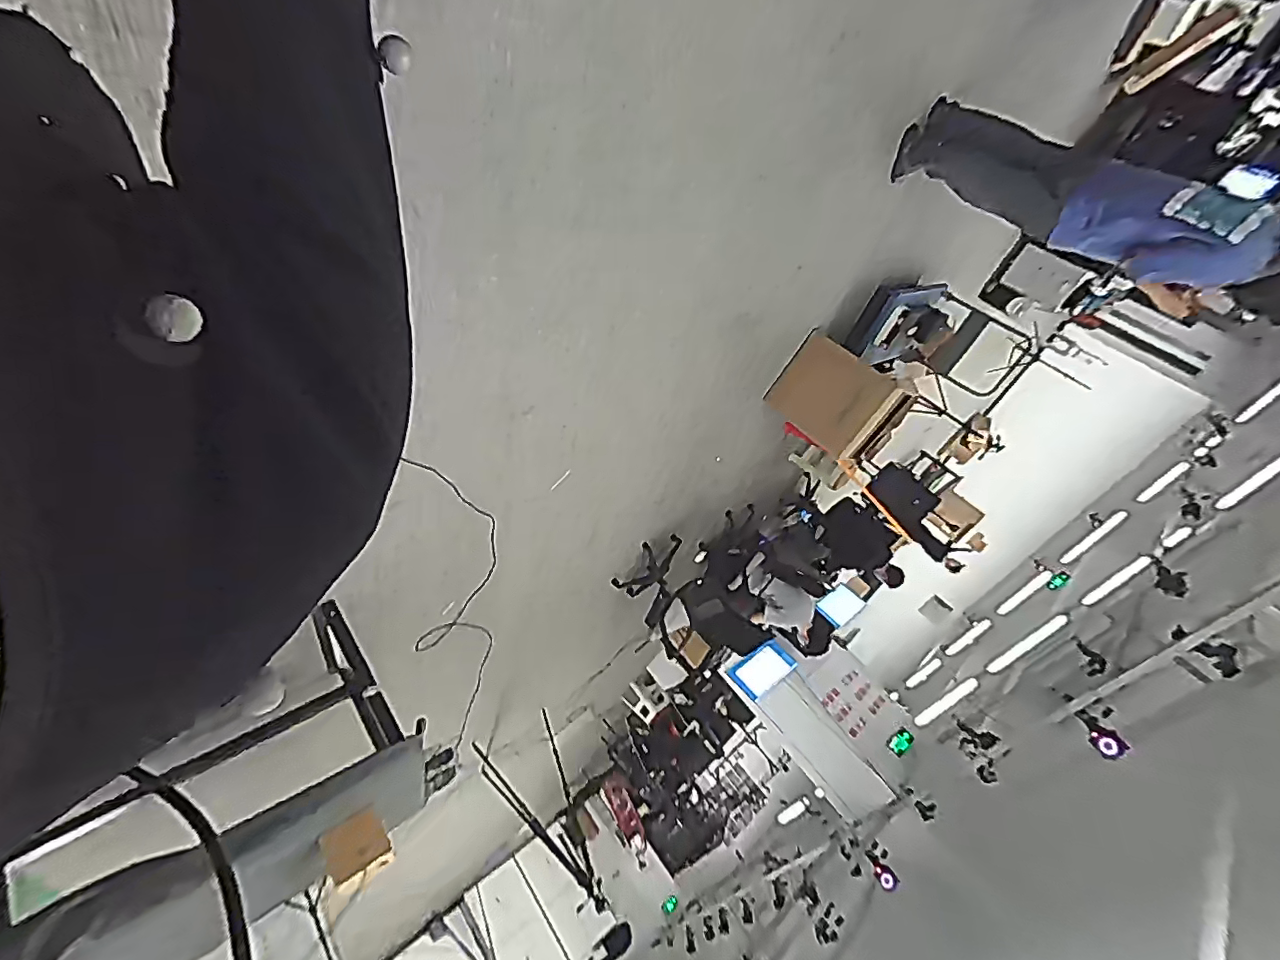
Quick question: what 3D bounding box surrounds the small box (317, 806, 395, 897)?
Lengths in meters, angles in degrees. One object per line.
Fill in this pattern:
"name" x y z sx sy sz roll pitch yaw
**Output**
"small box" -0.947 1.234 1.806 0.179 0.176 0.168 -23 146 -35
